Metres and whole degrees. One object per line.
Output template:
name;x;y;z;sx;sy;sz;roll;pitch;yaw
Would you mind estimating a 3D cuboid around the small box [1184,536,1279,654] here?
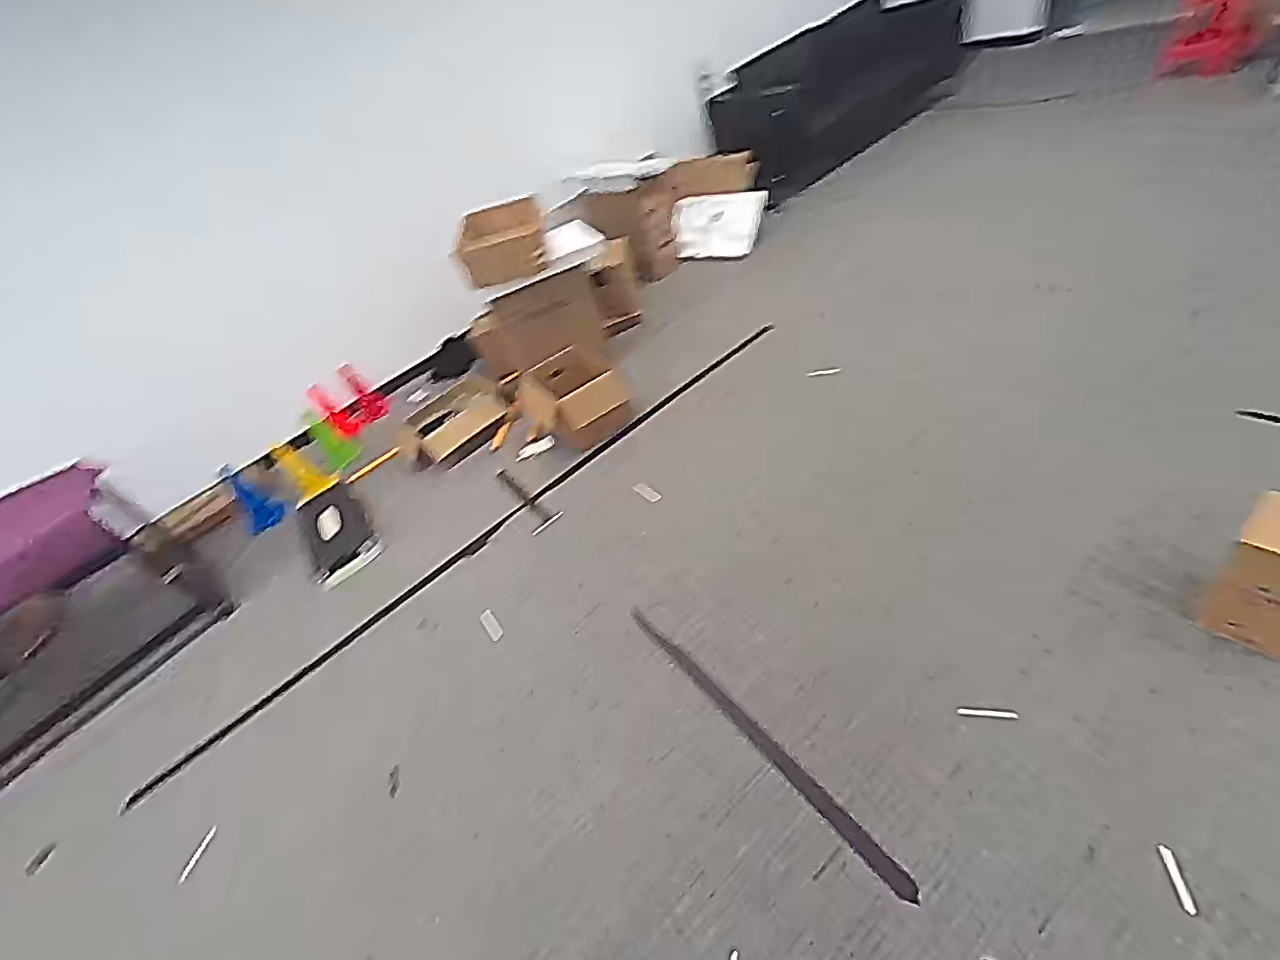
small box;1.456;0.273;1.287;0.179;0.176;0.168;-40;43;-19
